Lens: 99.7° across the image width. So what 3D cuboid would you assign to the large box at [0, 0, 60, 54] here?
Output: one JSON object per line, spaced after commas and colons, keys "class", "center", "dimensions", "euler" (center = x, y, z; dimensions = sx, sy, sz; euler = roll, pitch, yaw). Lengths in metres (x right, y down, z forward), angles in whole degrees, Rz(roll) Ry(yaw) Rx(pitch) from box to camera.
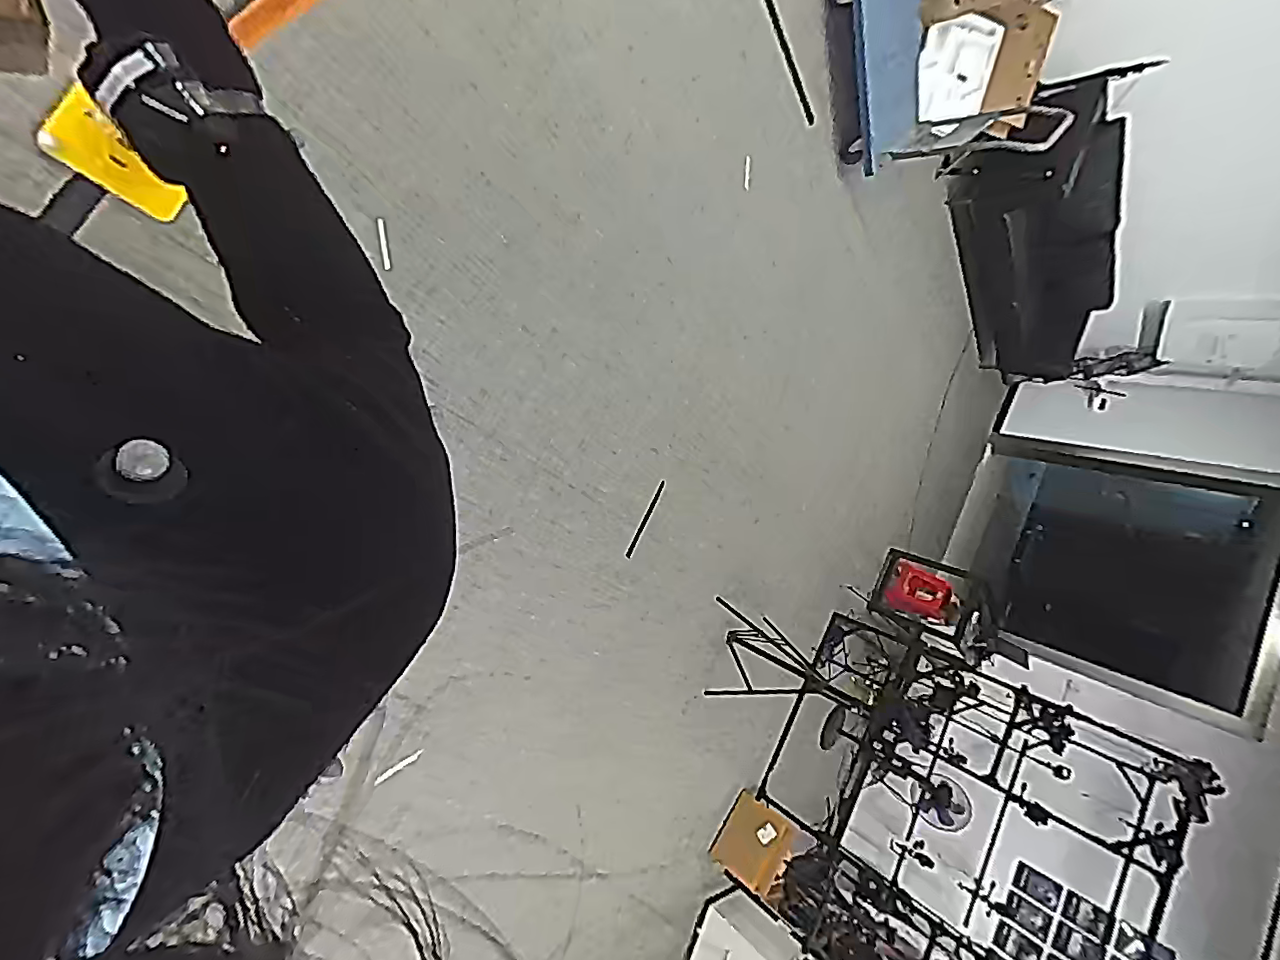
{"class": "large box", "center": [-0.591, -0.401, 0.223], "dimensions": [0.408, 0.320, 0.320], "euler": [-25, 128, -37]}
